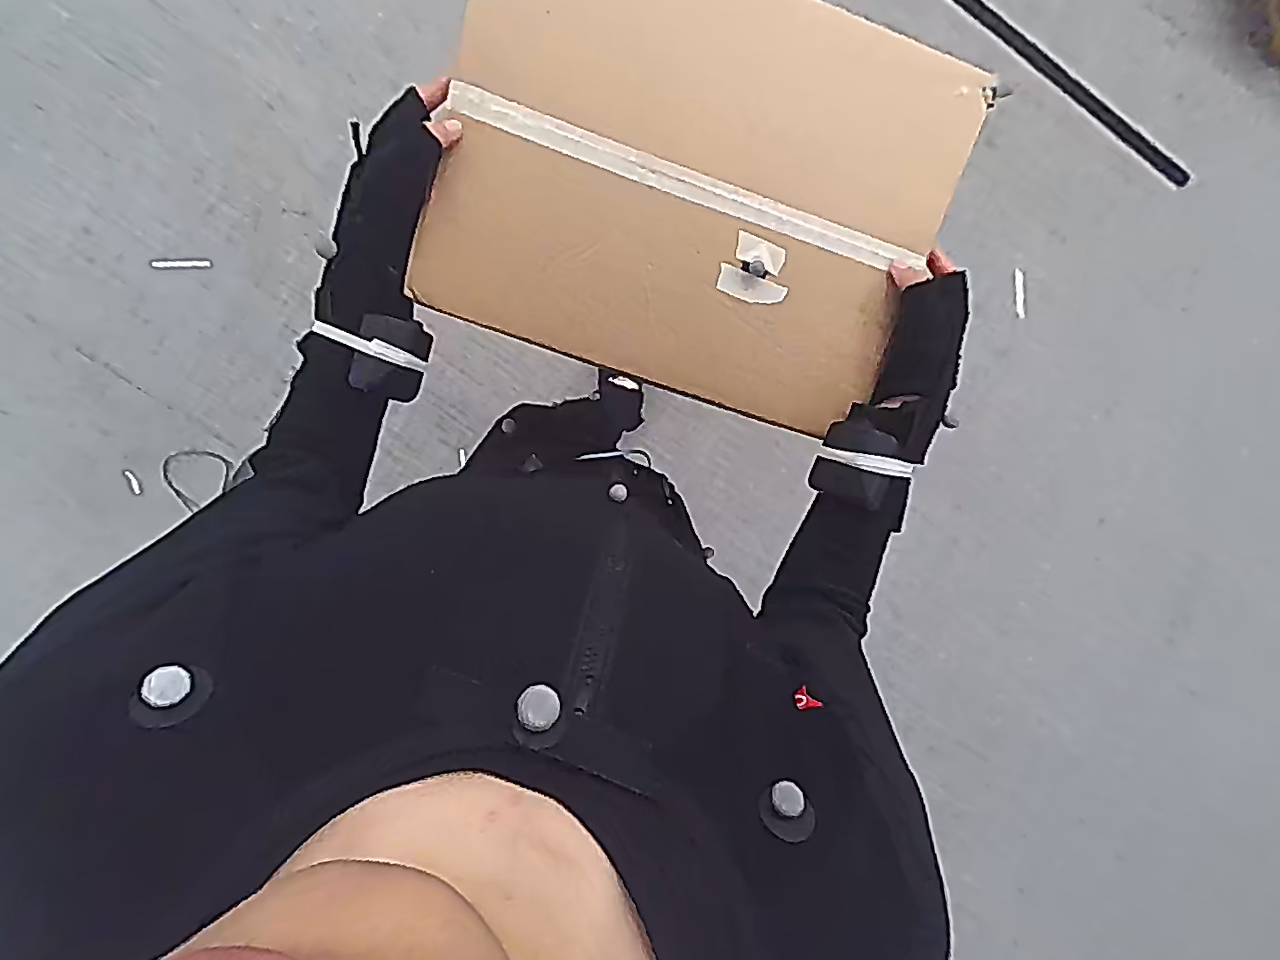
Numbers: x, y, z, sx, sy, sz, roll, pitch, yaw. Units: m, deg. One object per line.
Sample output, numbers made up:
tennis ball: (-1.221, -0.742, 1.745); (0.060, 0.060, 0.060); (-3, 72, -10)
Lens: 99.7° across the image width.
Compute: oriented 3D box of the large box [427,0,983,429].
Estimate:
large box: (0.042, -0.273, 0.595); (0.408, 0.320, 0.320); (18, 101, -7)
